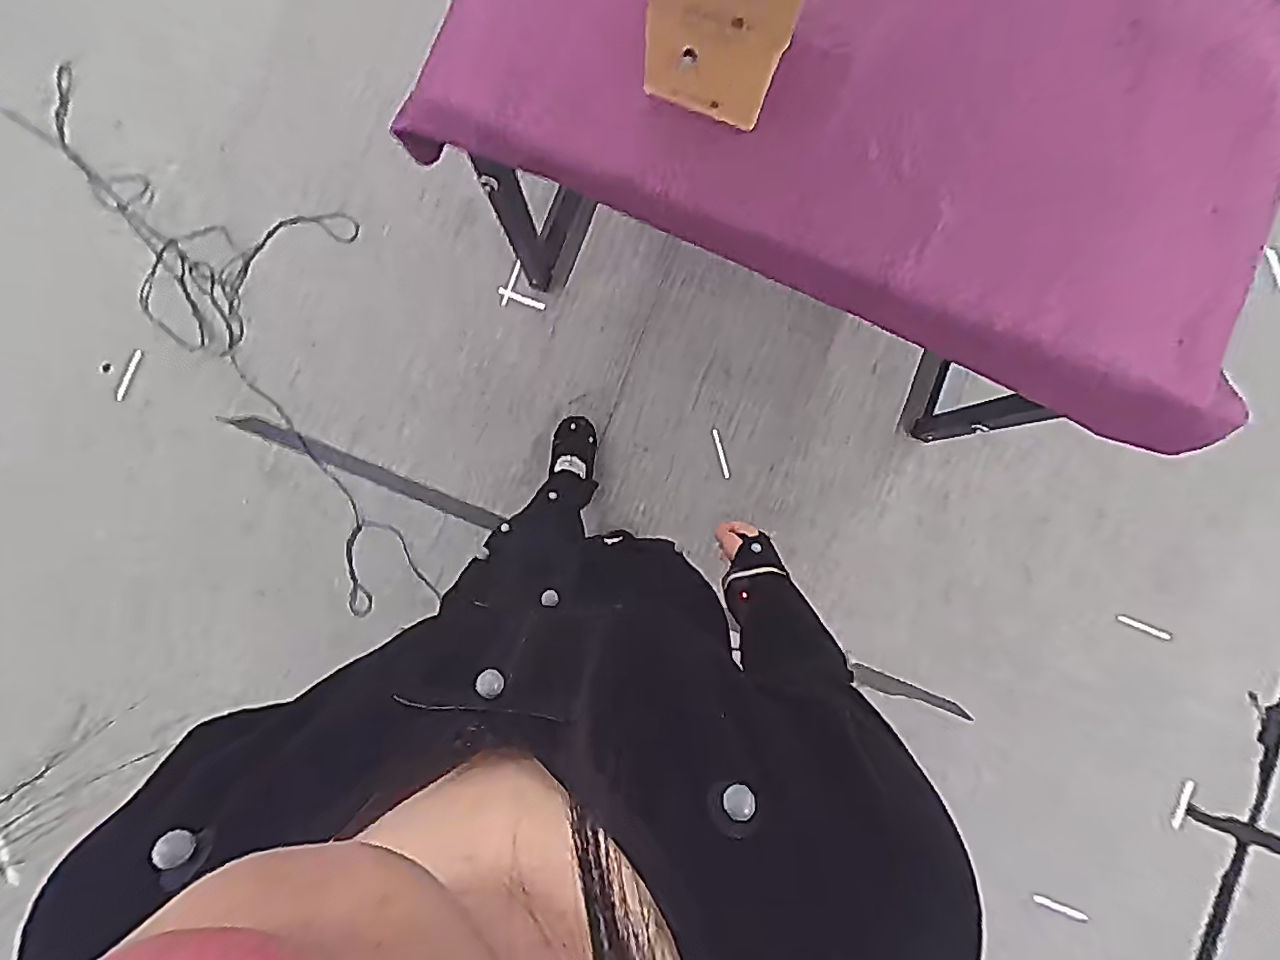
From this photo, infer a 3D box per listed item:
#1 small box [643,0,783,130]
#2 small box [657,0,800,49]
[{"bbox_3d":[0.109,-0.608,0.706,0.168,0.176,0.179,21,88,0],"label":"small box"},{"bbox_3d":[0.109,-0.592,0.541,0.168,0.176,0.179,16,88,-1],"label":"small box"}]
